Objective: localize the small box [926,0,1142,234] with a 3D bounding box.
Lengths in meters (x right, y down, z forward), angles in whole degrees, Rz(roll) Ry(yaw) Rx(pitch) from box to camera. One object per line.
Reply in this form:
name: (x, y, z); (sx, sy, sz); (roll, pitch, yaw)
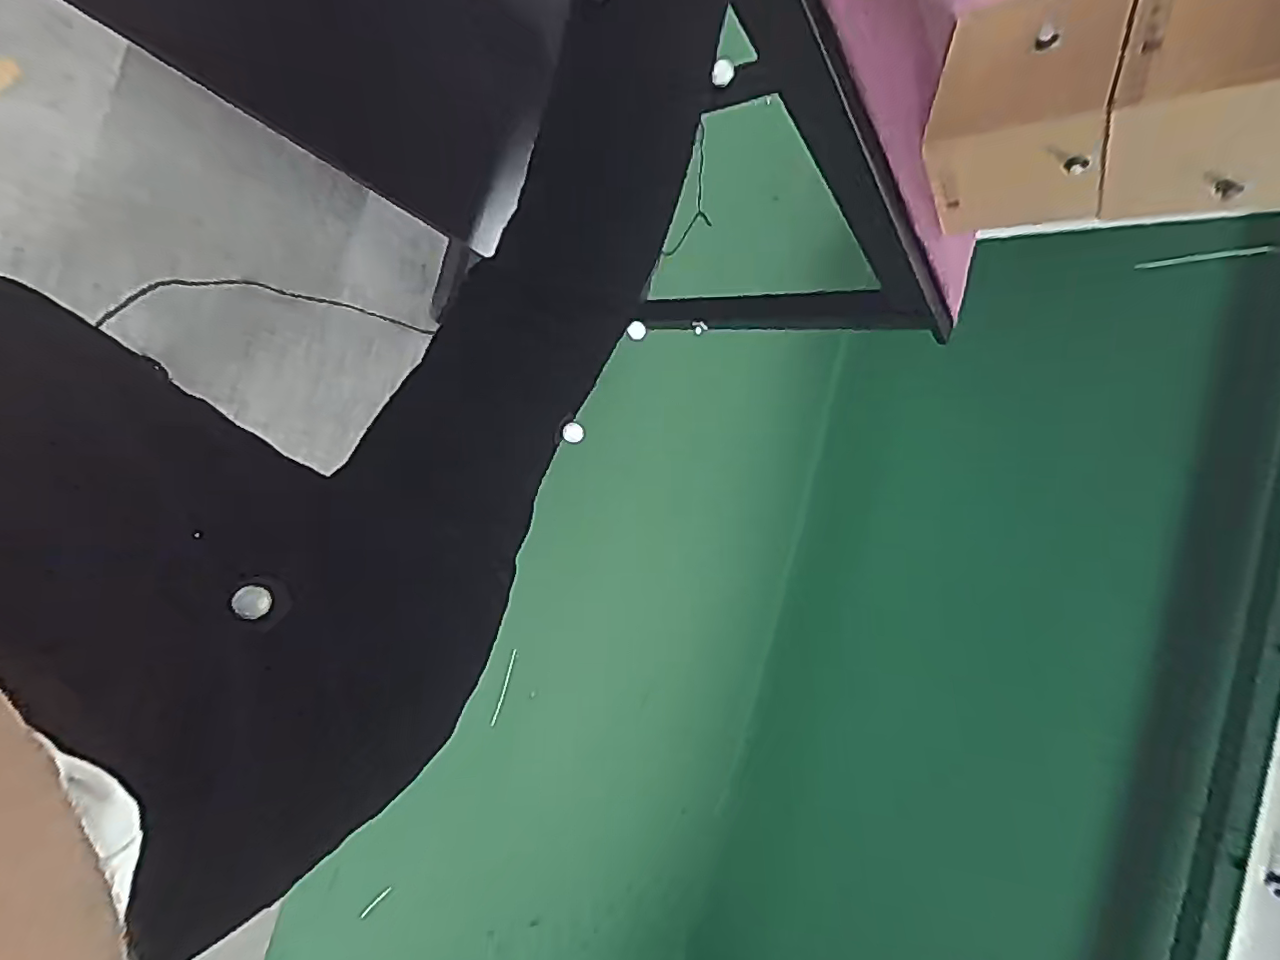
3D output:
small box: (0.450, -0.416, 0.628); (0.168, 0.176, 0.179); (24, 82, -49)
